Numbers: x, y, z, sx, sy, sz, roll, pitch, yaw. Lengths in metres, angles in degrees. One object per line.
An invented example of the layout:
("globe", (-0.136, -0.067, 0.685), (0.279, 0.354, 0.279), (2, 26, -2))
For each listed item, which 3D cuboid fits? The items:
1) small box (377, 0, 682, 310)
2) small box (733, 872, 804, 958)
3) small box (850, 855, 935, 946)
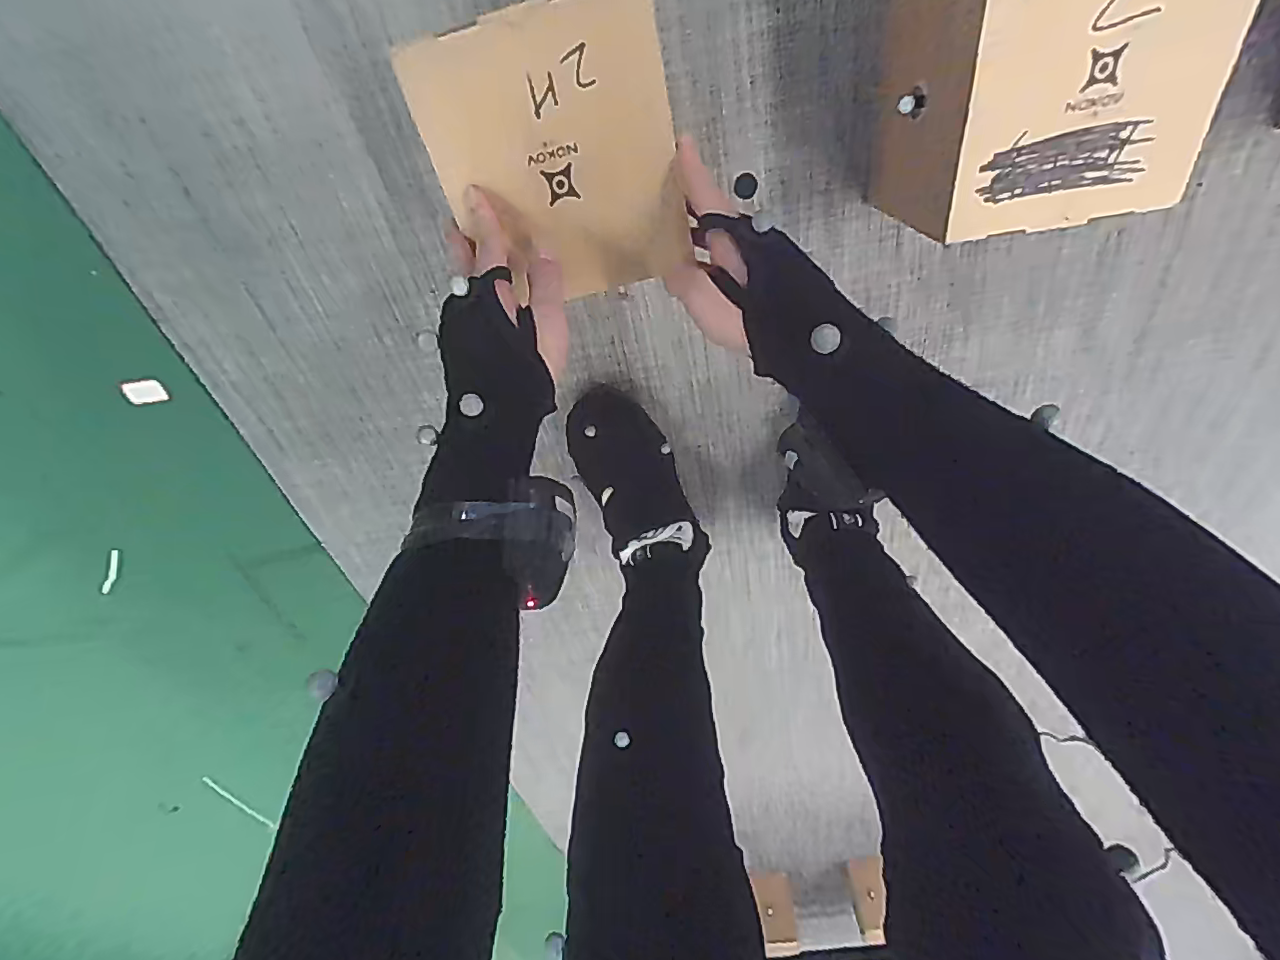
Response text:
("small box", (-0.064, -0.264, 0.433), (0.168, 0.176, 0.179), (-11, 126, 7))
("small box", (0.384, 1.305, 1.627), (0.179, 0.176, 0.168), (-9, 126, 5))
("small box", (0.721, 1.216, 1.566), (0.179, 0.176, 0.168), (-11, 127, 6))
